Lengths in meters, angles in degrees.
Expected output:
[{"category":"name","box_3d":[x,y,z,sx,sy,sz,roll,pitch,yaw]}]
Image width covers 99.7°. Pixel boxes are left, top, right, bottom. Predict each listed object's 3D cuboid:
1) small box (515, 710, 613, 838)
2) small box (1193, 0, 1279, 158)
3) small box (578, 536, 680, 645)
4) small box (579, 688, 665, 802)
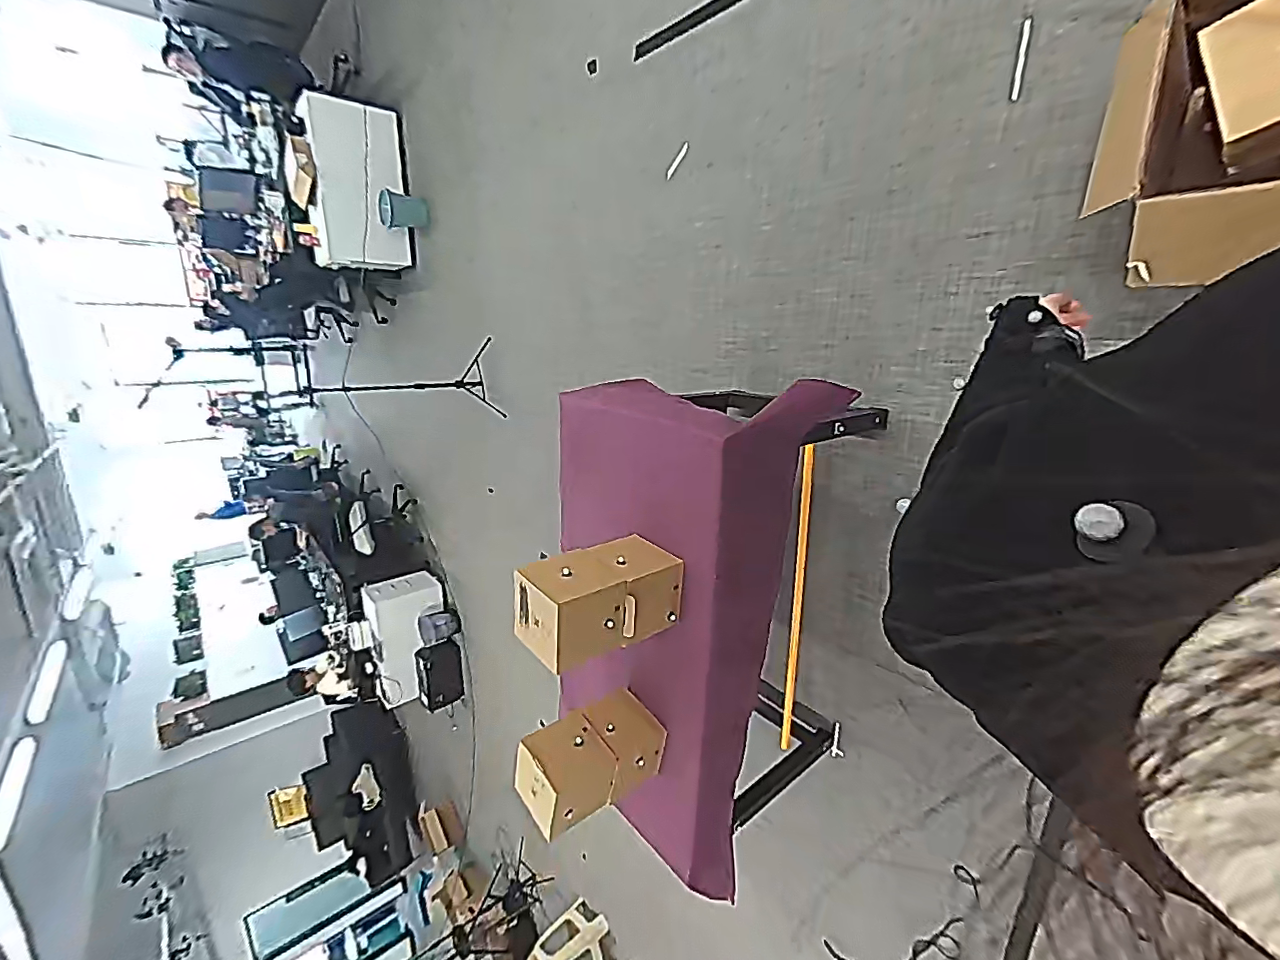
[{"category":"small box","box_3d":[-0.184,0.699,1.302,0.168,0.176,0.179,34,123,40]},{"category":"small box","box_3d":[0.914,-0.587,0.753,0.179,0.176,0.168,-14,91,47]},{"category":"small box","box_3d":[-0.026,0.242,1.247,0.179,0.176,0.168,24,118,46]},{"category":"small box","box_3d":[-0.059,0.678,1.406,0.179,0.176,0.168,33,123,41]}]
